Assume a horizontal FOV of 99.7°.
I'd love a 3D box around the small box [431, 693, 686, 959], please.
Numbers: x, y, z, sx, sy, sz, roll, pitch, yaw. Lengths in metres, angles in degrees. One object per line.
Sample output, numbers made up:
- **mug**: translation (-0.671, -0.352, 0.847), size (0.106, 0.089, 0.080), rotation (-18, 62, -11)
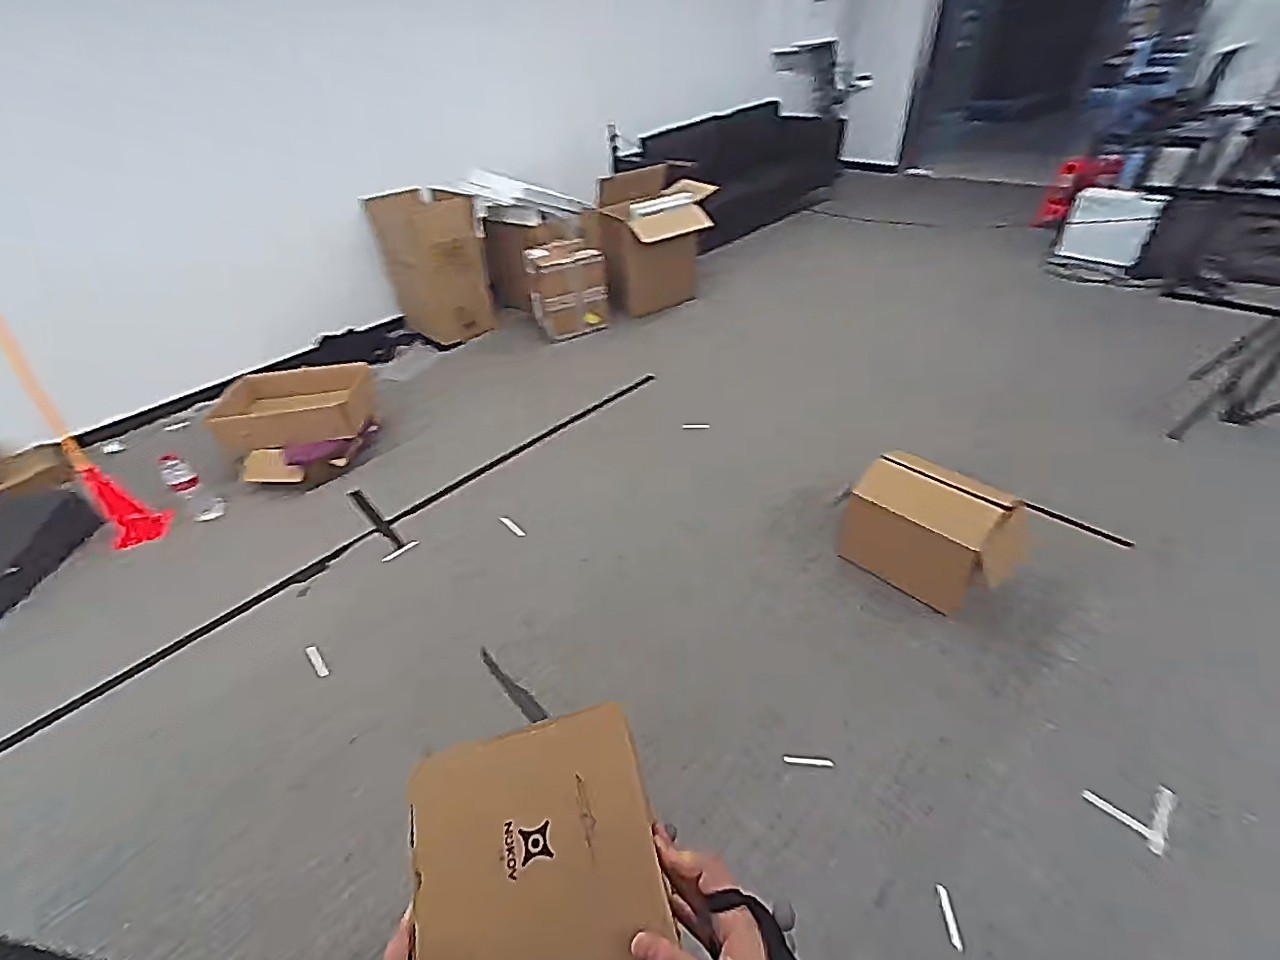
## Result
- **small box**: translation (-0.063, 0.311, 0.471), size (0.179, 0.176, 0.168), rotation (-14, 54, -6)
